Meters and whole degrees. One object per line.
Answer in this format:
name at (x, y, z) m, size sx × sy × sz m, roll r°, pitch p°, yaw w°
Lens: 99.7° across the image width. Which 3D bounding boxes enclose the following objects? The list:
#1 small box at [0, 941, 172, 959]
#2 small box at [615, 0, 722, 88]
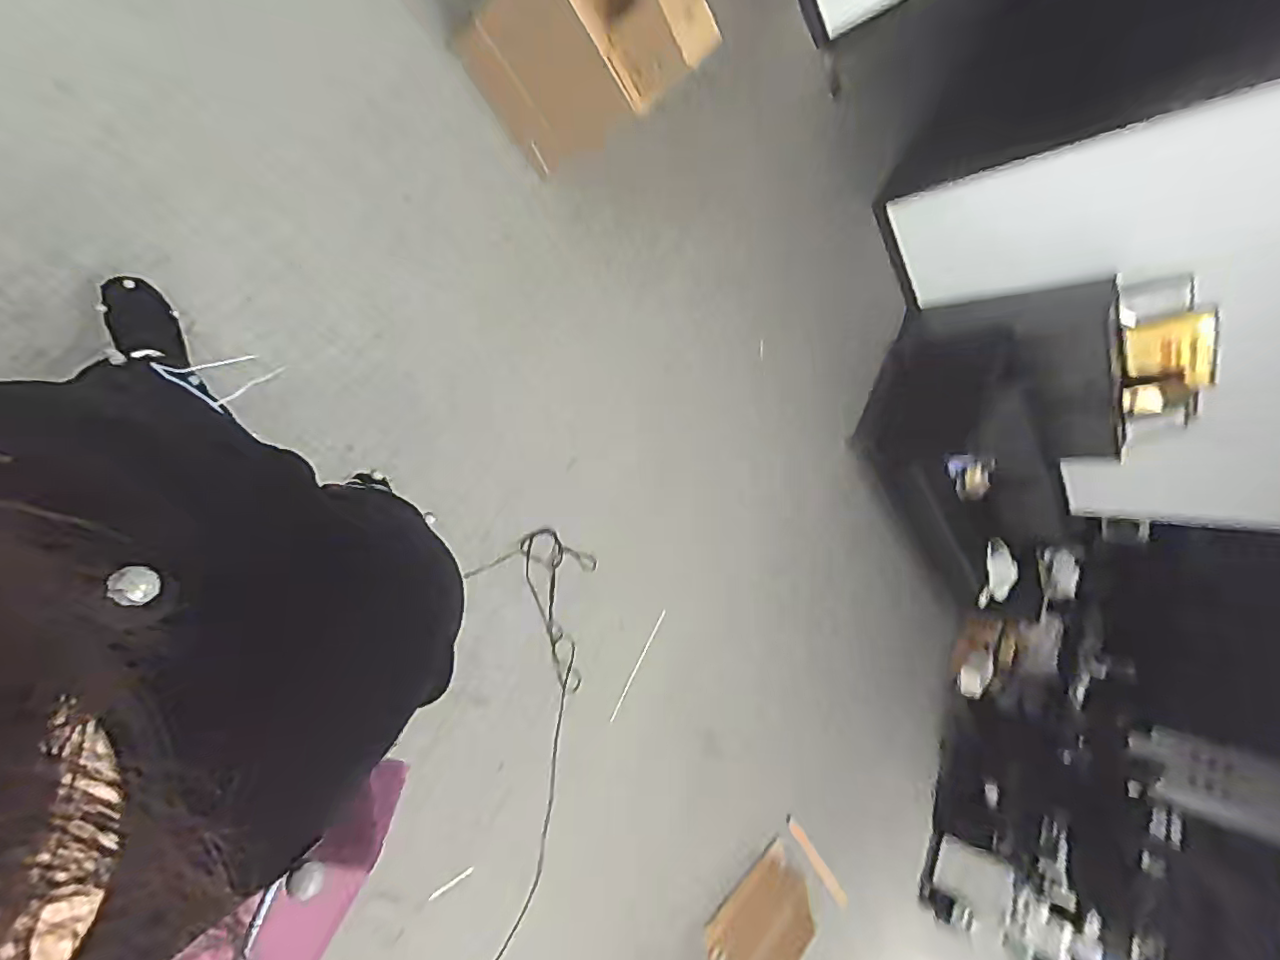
small box at (-0.578, 0.585, 0.513) m, size 0.168 × 0.176 × 0.179 m, roll 41°, pitch 68°, yaw -37°
small box at (0.064, -1.110, 1.321) m, size 0.168 × 0.176 × 0.179 m, roll 49°, pitch 61°, yaw -33°
